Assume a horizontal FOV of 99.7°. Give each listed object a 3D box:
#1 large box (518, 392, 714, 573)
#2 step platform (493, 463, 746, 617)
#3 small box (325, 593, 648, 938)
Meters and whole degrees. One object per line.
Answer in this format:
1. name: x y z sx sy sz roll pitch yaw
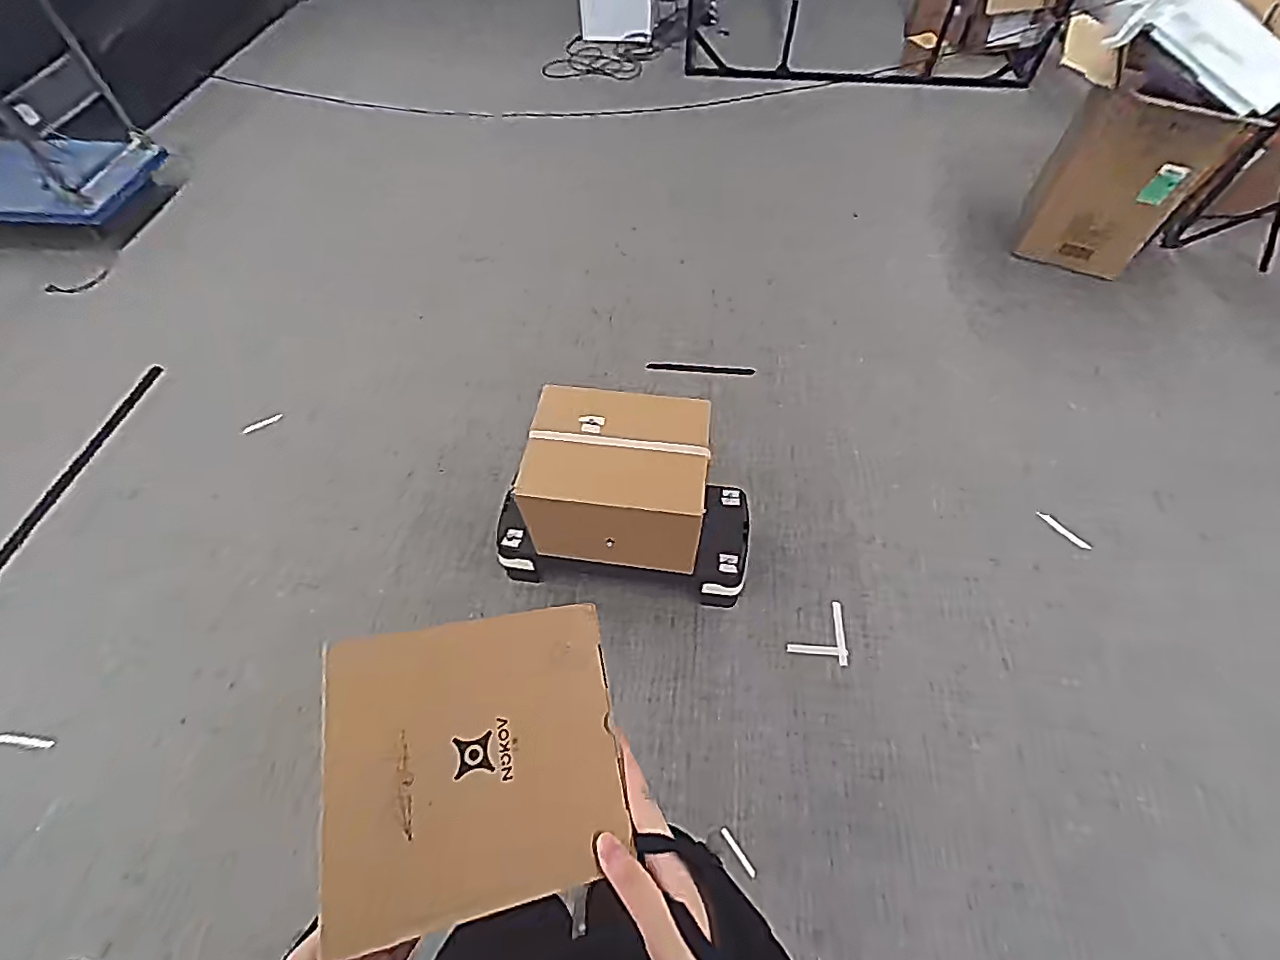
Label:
1. large box: -0.036 0.014 1.316 0.408 0.320 0.320 6 57 6
2. step platform: -0.051 0.155 1.509 0.684 0.204 0.286 10 58 9
3. small box: -0.109 0.190 0.398 0.179 0.176 0.168 -3 65 -17
